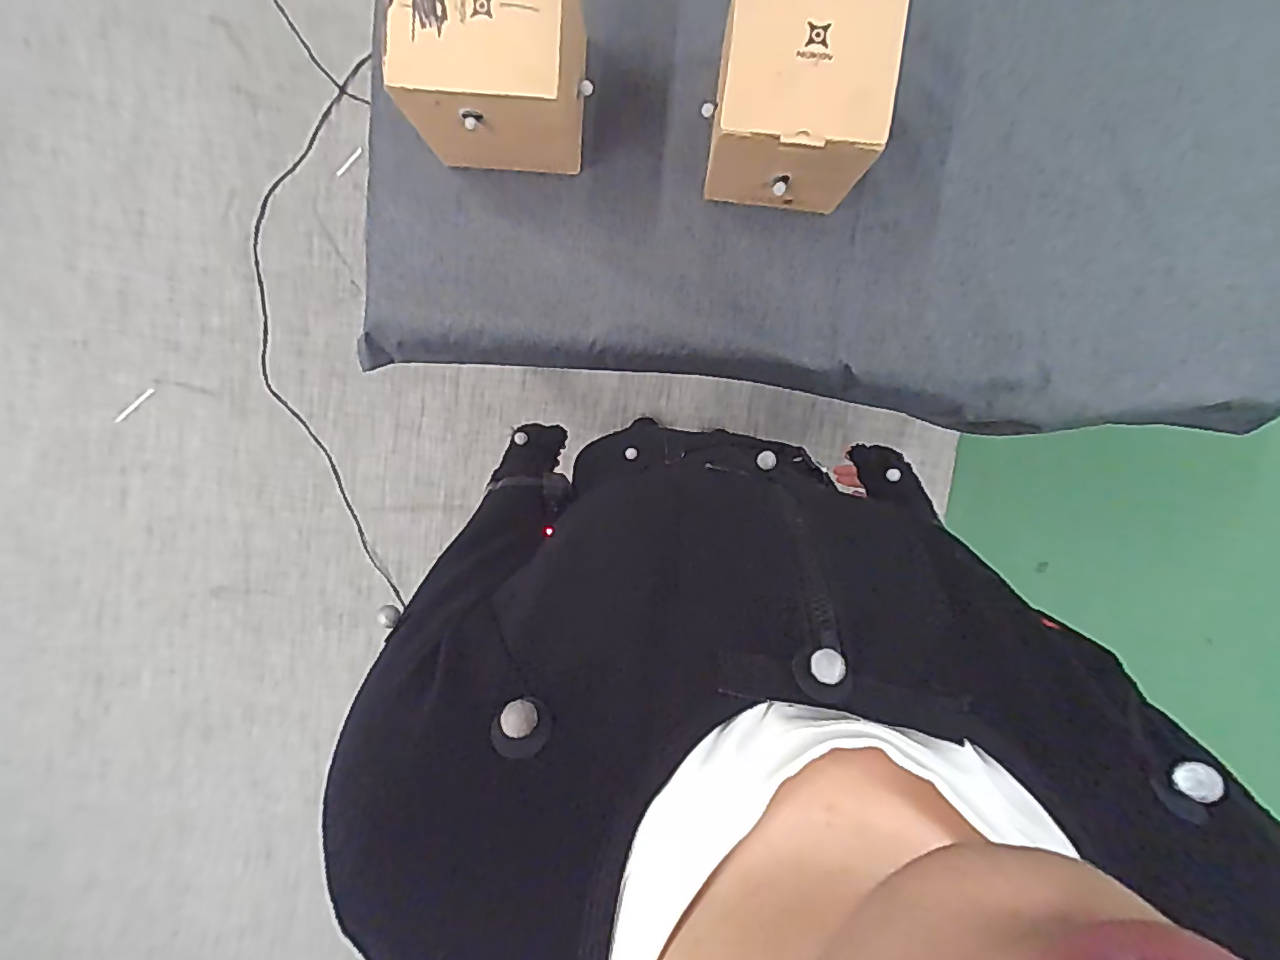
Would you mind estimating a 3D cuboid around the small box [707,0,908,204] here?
[{"bbox_3d":[0.170,-0.430,0.598,0.168,0.176,0.179,7,97,1],"label":"small box"}]

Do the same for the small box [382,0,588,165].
[{"bbox_3d":[-0.159,-0.475,0.600,0.179,0.176,0.168,4,97,0],"label":"small box"}]
